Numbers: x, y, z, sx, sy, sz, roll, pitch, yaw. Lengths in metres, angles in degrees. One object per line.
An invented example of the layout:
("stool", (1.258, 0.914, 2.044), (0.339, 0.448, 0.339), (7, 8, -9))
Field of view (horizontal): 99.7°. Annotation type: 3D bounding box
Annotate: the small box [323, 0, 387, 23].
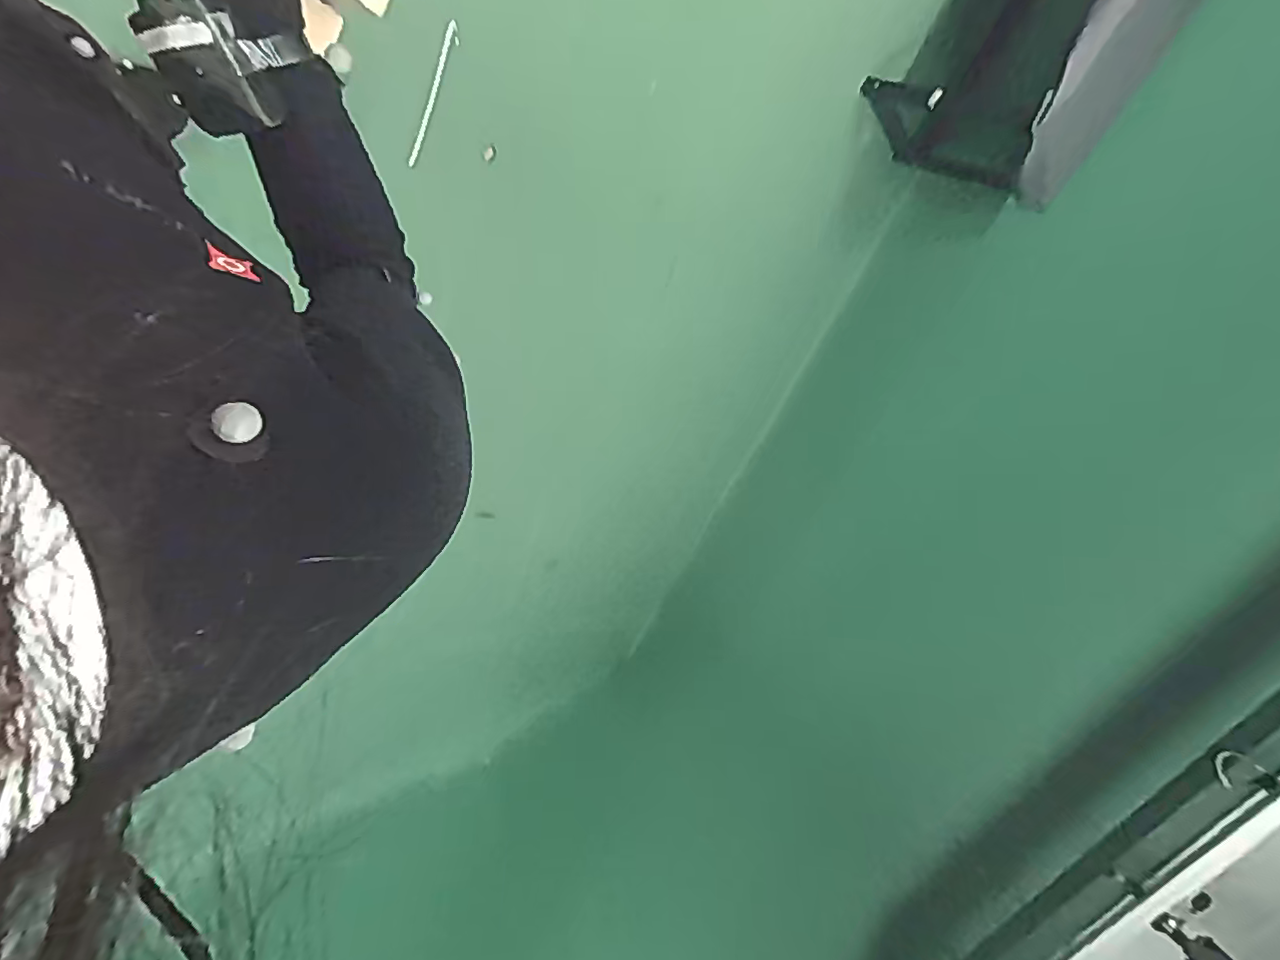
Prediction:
("small box", (-0.484, -0.868, 0.837), (0.168, 0.176, 0.179), (8, 117, -53))
